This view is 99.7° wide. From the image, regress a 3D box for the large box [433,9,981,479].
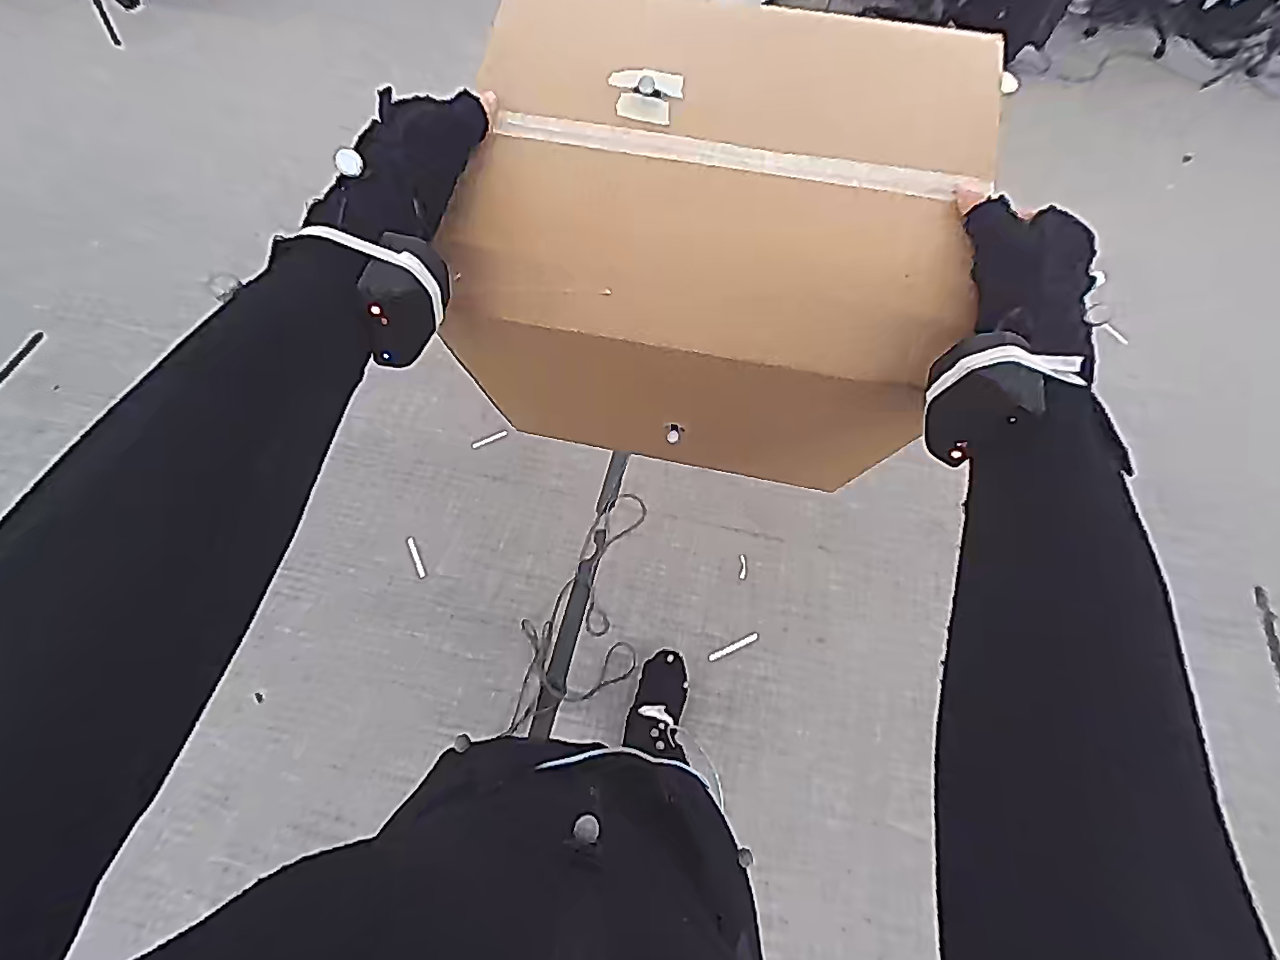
[{"bbox_3d":[0.069,-0.207,0.577,0.408,0.320,0.320,11,77,5],"label":"large box"}]
